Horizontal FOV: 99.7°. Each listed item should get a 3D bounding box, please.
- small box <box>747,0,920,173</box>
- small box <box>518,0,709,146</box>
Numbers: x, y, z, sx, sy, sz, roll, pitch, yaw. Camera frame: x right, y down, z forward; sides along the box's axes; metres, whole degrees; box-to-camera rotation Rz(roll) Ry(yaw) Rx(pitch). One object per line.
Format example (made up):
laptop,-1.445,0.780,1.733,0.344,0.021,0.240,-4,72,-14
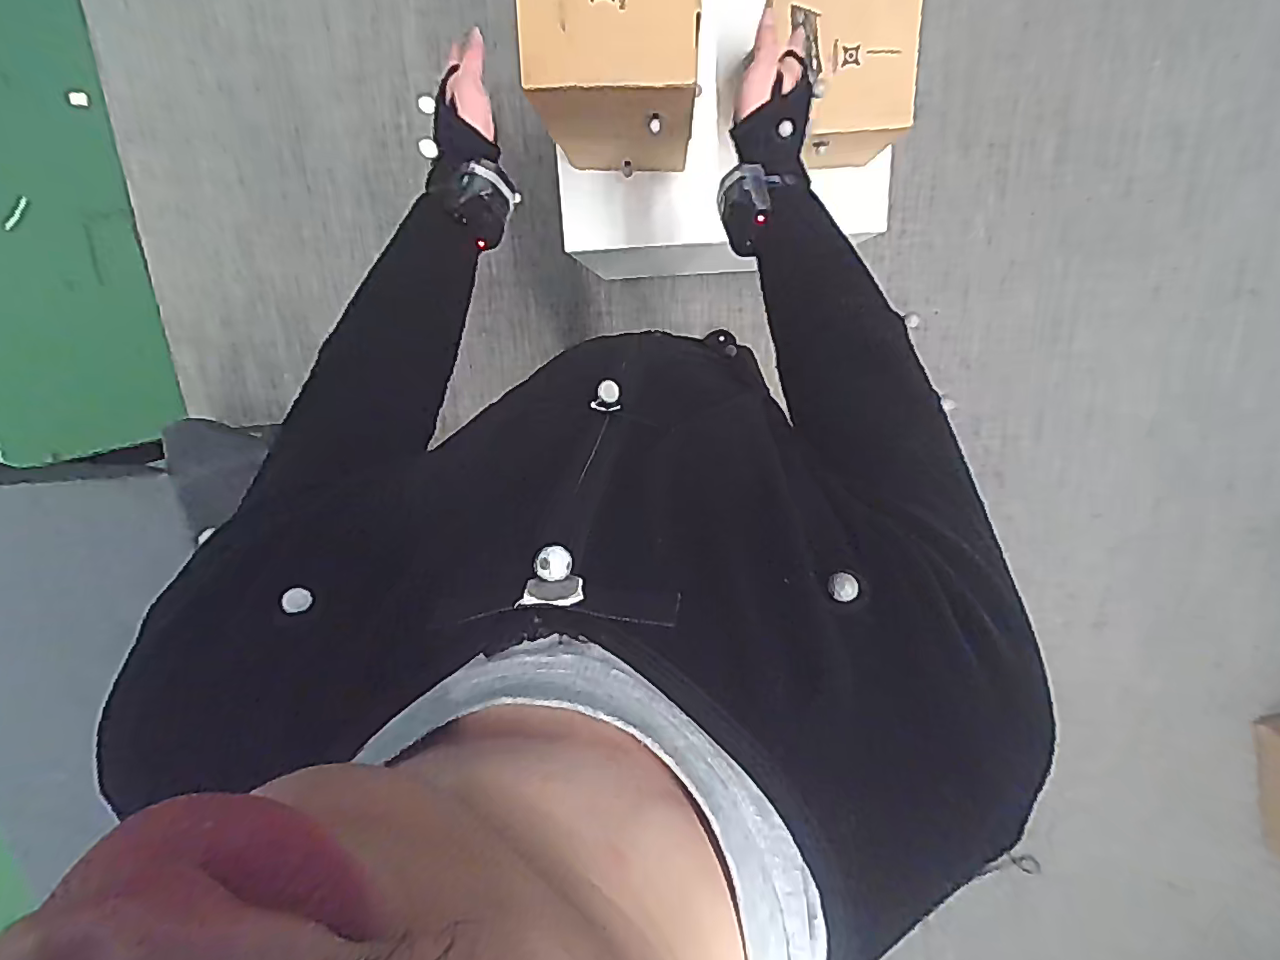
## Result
small box,0.241,-0.523,0.718,0.179,0.176,0.168,-3,105,1
small box,-0.024,-0.471,0.566,0.179,0.176,0.168,-1,104,2
